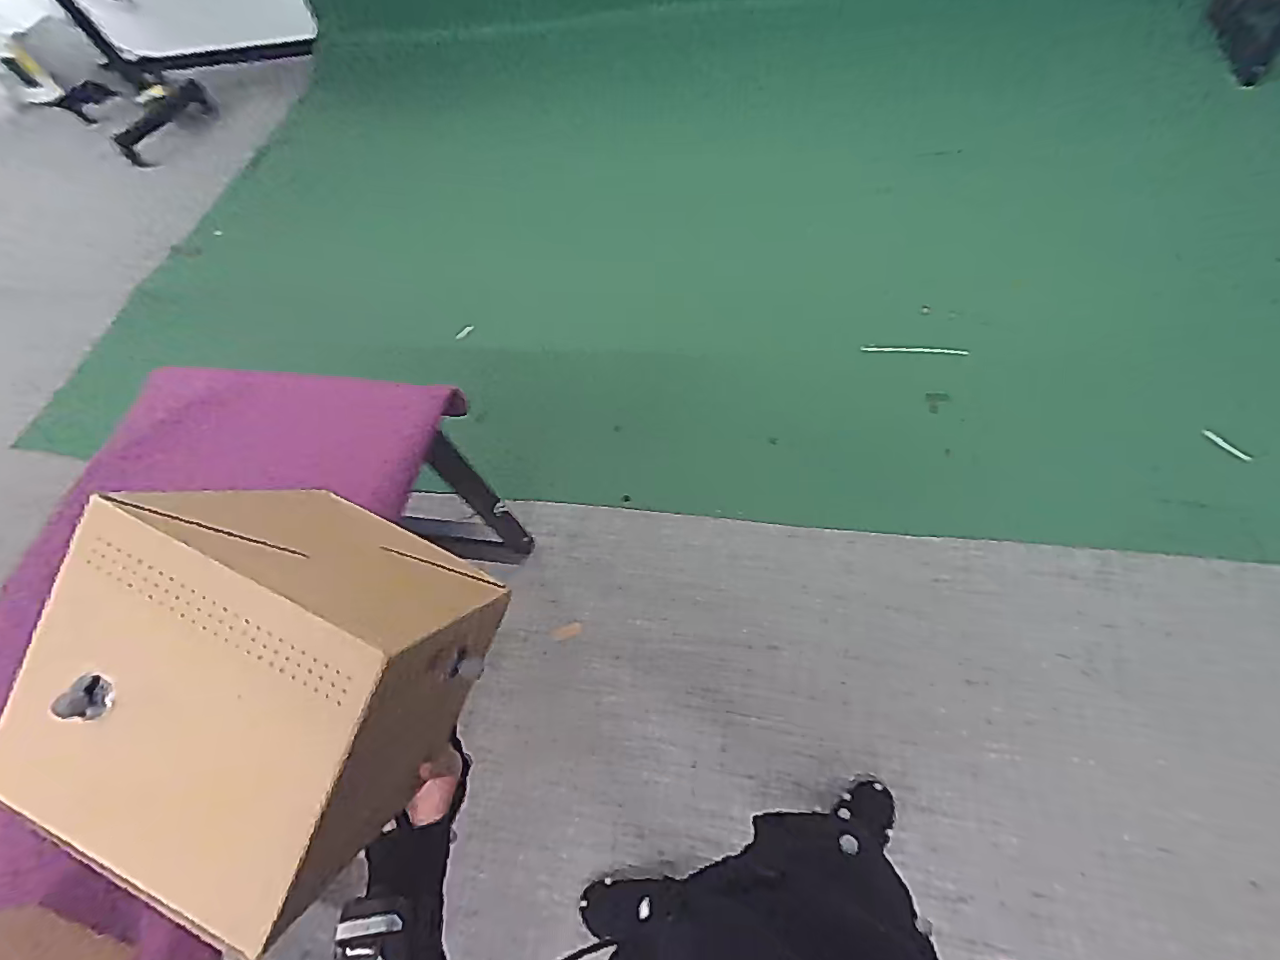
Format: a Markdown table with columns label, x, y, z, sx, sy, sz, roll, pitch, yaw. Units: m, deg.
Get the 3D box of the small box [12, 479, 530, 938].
| label | x | y | z | sx | sy | sz | roll | pitch | yaw |
| --- | --- | --- | --- | --- | --- | --- | --- | --- | --- |
| small box | -0.198 | 0.107 | 0.338 | 0.179 | 0.168 | 0.176 | 25 | 94 | 6 |
